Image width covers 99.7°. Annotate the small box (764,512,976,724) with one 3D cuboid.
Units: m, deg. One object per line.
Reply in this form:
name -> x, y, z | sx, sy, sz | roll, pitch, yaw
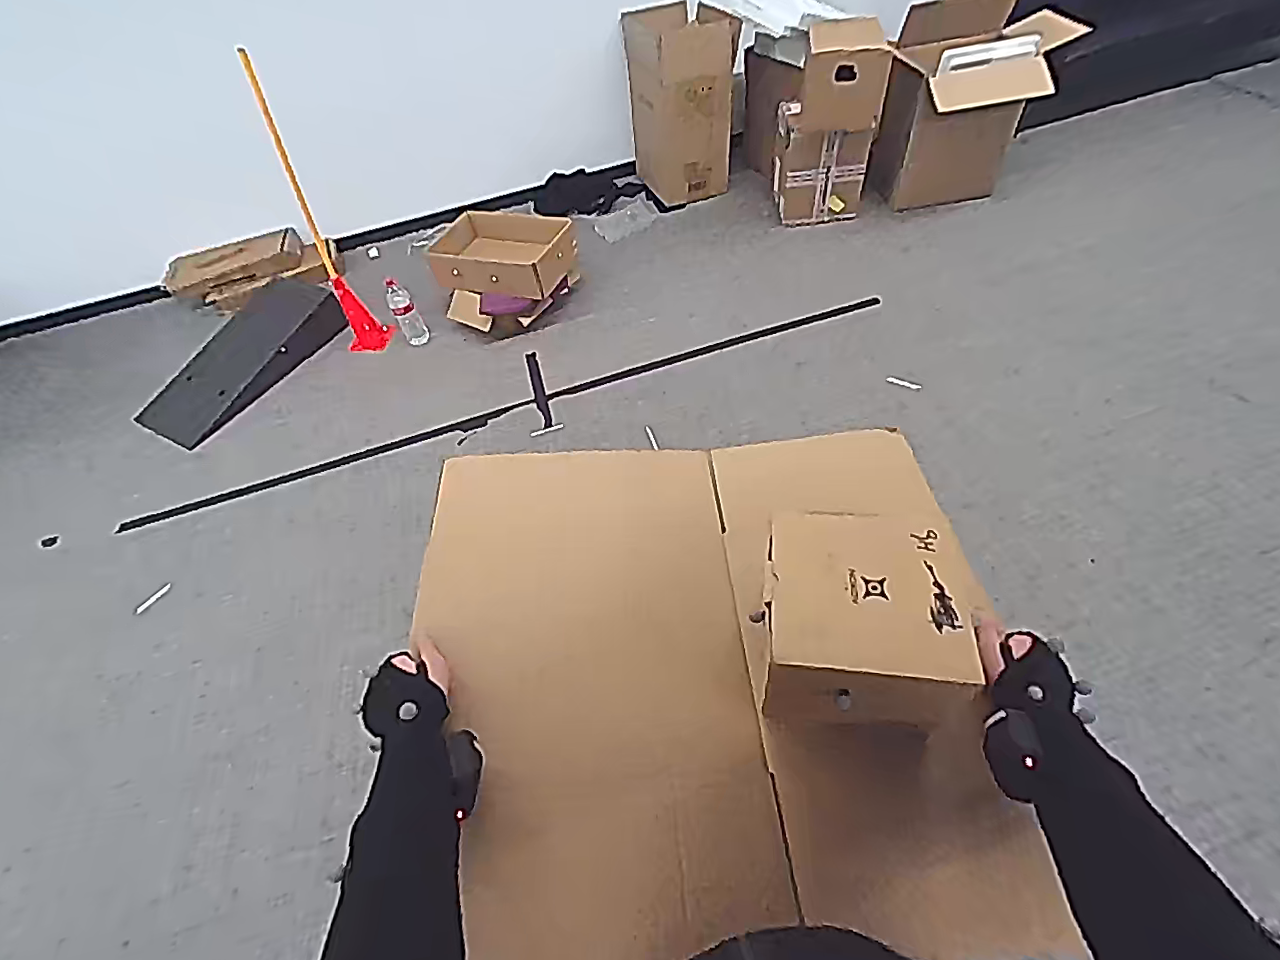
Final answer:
small box -> 0.224, 0.150, 0.580 | 0.179, 0.176, 0.168 | 1, 53, 12
